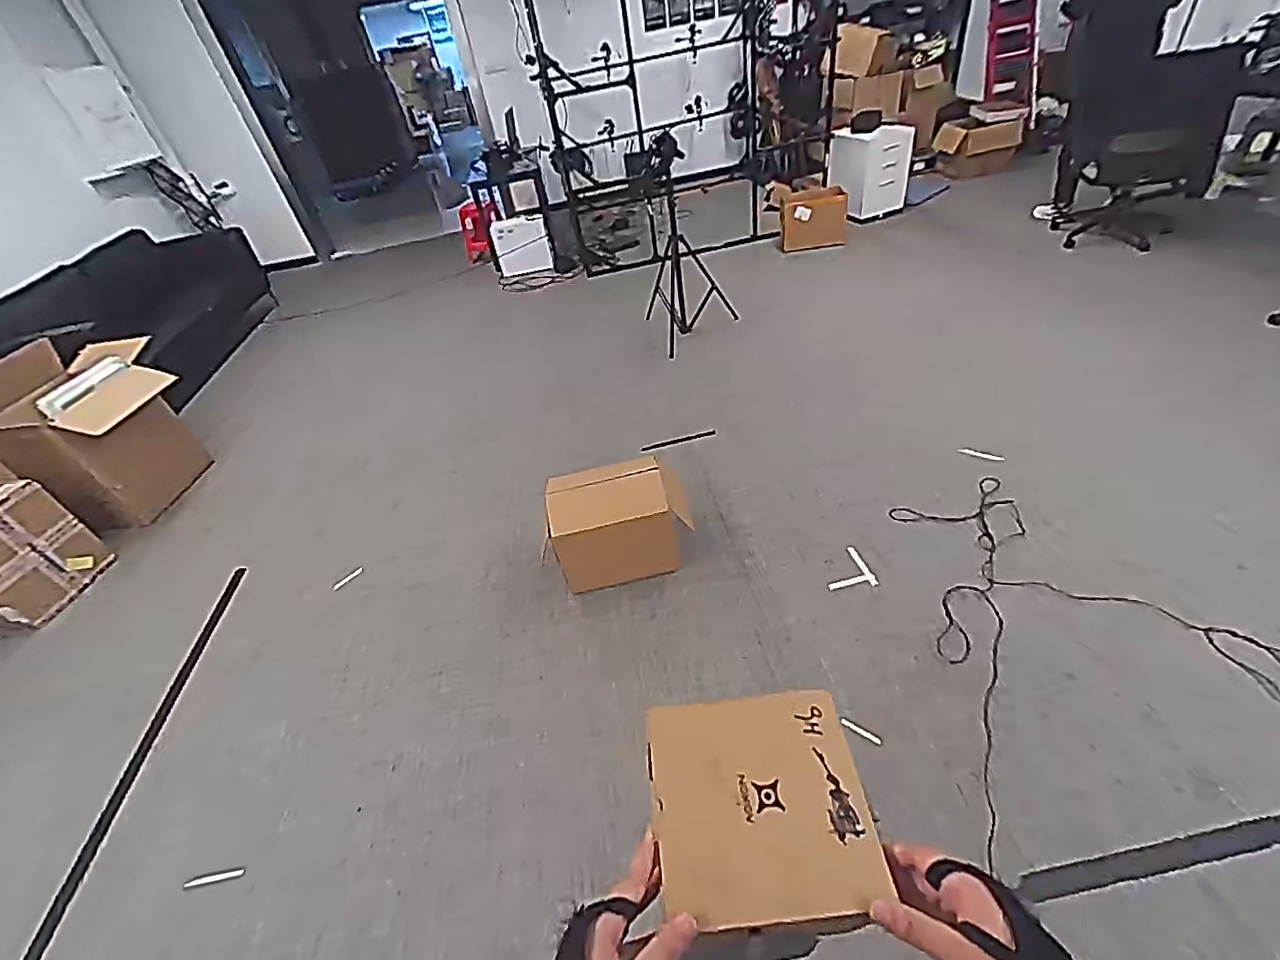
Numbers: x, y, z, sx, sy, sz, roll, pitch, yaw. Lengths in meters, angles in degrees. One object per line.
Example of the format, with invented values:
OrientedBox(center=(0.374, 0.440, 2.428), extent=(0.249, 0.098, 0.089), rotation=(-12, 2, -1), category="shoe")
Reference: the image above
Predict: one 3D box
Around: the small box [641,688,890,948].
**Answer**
OrientedBox(center=(0.100, 0.318, 0.508), extent=(0.179, 0.176, 0.168), rotation=(-6, 45, -1), category="small box")
